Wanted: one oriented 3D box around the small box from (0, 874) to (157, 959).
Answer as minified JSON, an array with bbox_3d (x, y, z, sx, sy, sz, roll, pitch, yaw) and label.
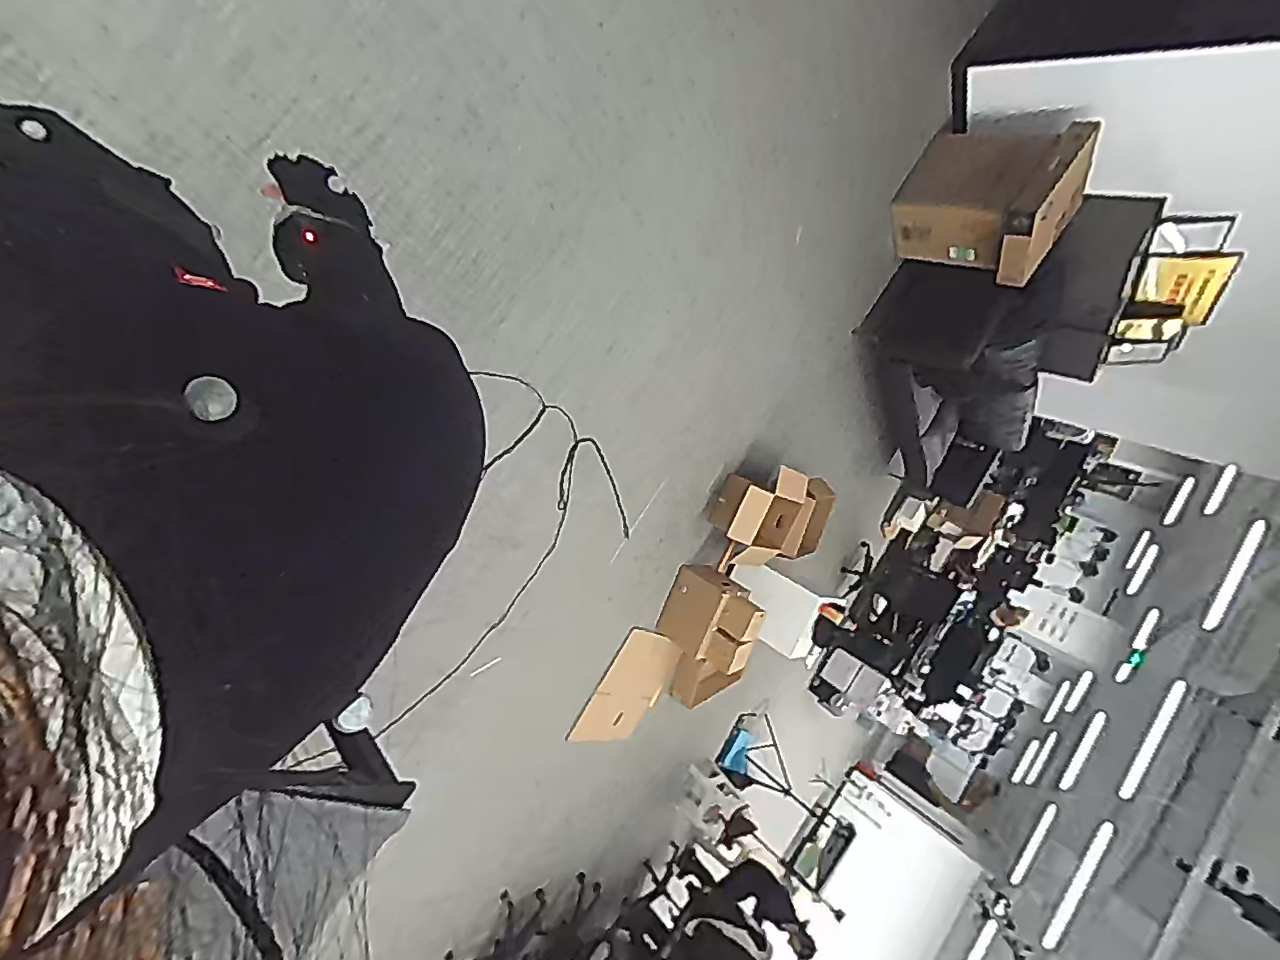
[{"bbox_3d":[-0.761,0.652,0.687,0.179,0.176,0.168,-55,143,-8],"label":"small box"}]
